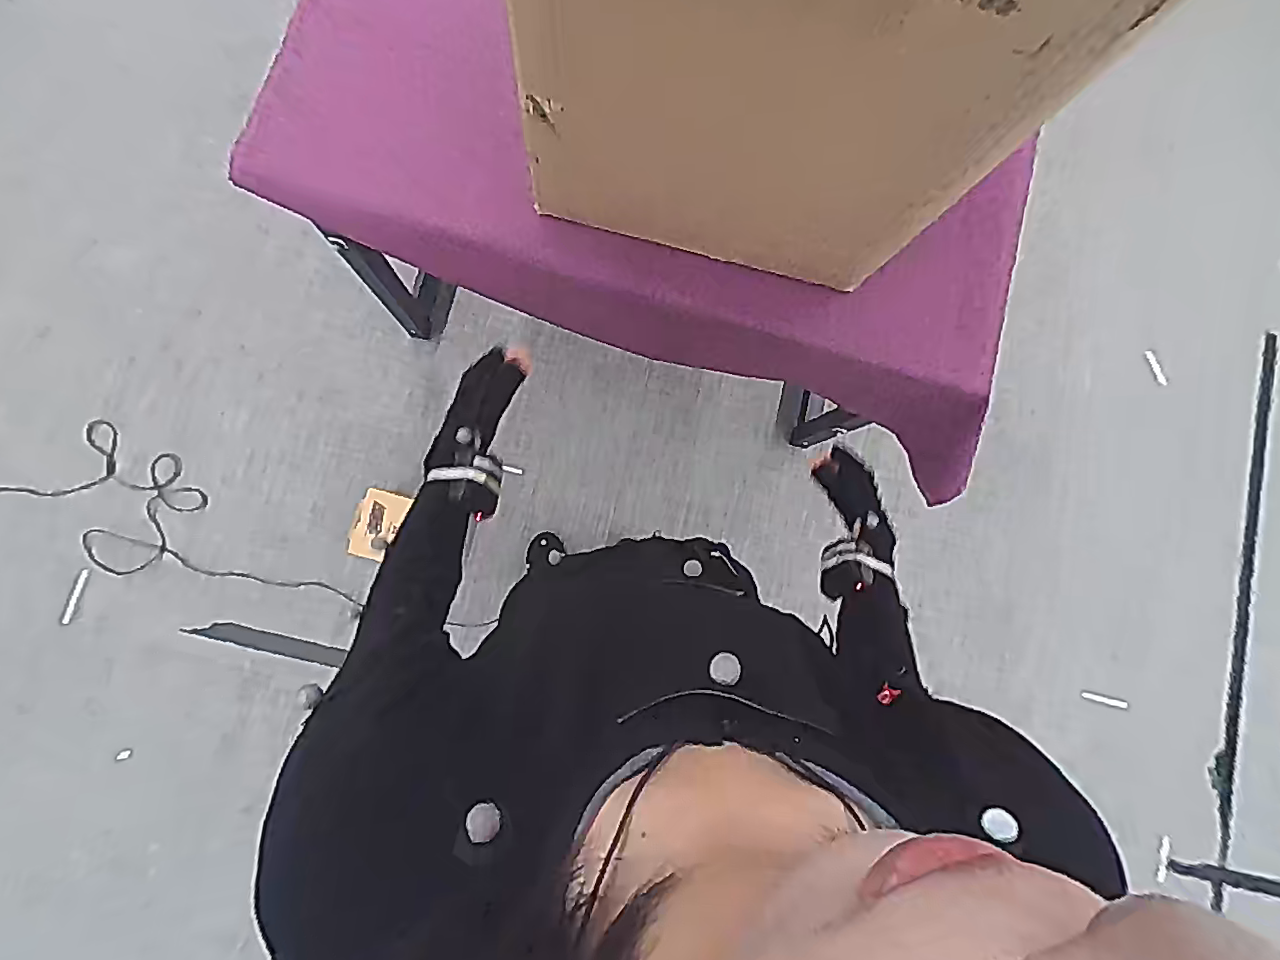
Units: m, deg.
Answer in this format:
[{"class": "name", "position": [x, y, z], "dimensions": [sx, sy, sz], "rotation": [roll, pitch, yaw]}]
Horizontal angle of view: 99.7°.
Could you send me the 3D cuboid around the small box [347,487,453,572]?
[{"class": "small box", "position": [-0.601, 0.128, 1.377], "dimensions": [0.179, 0.176, 0.168], "rotation": [17, 83, -4]}]
